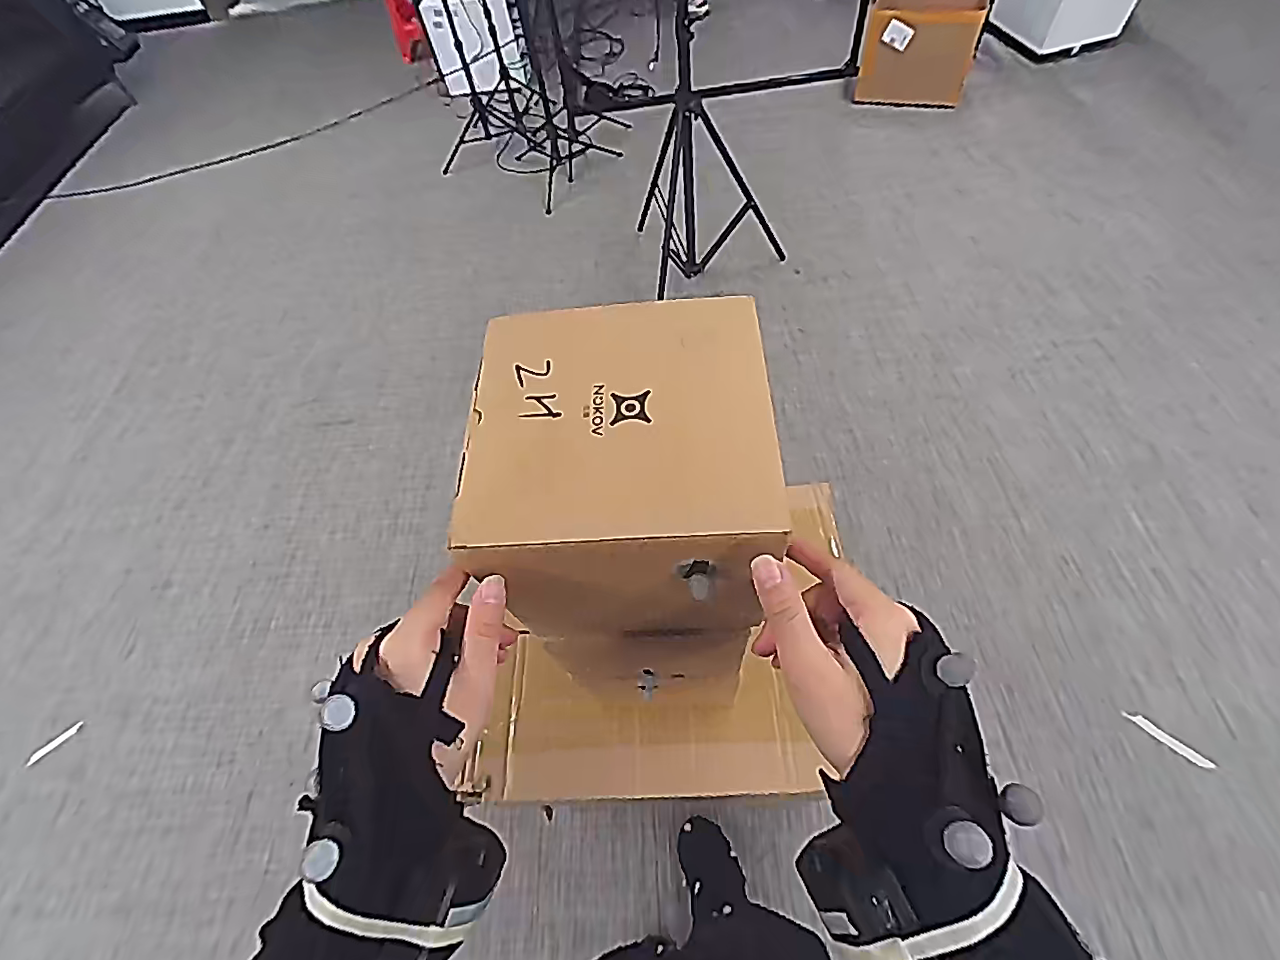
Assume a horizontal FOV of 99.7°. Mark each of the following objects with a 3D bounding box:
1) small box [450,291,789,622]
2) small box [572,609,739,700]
[{"bbox_3d":[-0.005,-0.005,0.380,0.179,0.176,0.168,-4,59,5],"label":"small box"},{"bbox_3d":[0.025,0.168,0.659,0.179,0.176,0.168,-3,59,5],"label":"small box"}]
